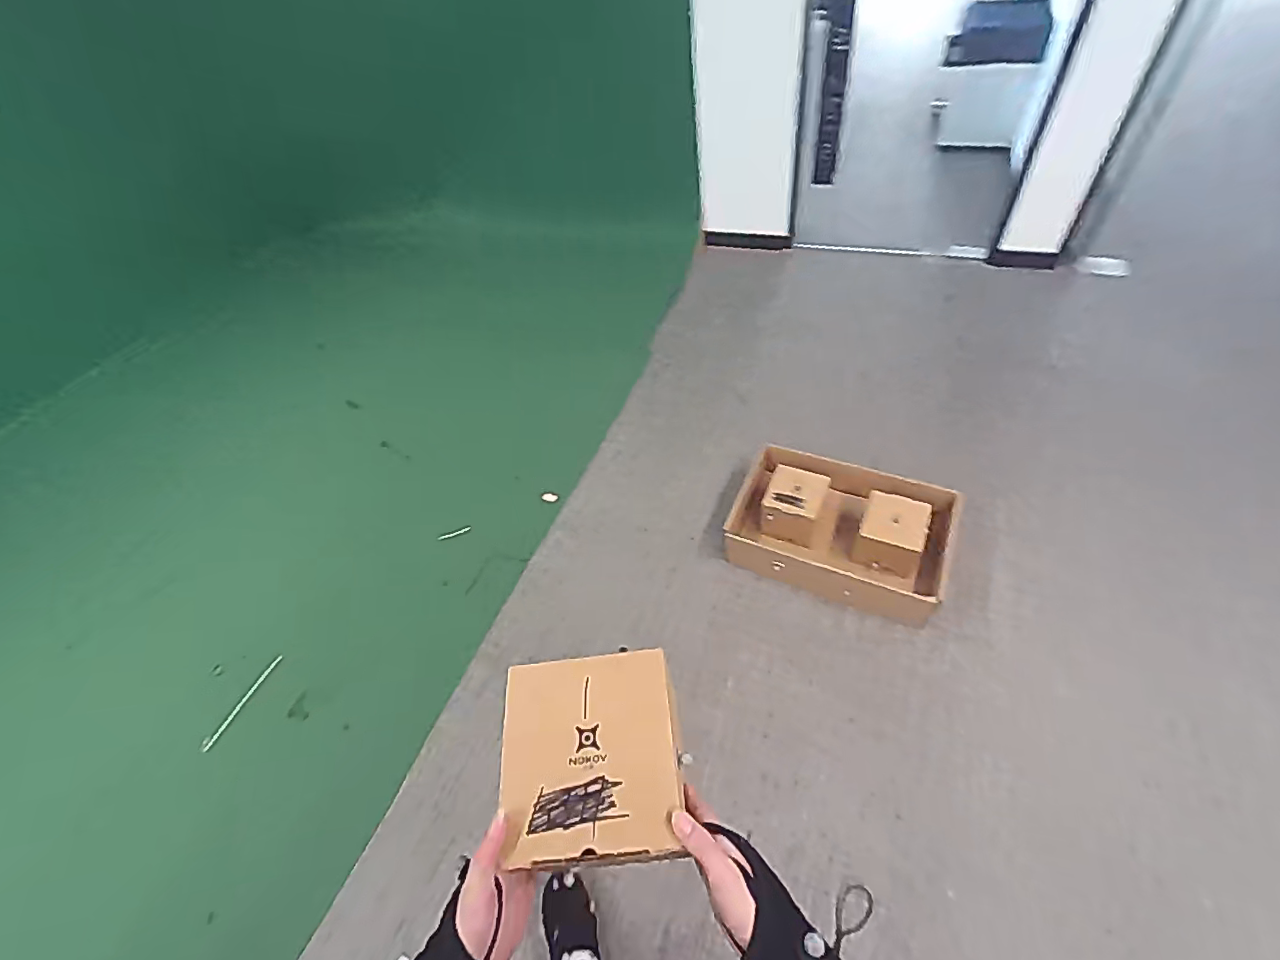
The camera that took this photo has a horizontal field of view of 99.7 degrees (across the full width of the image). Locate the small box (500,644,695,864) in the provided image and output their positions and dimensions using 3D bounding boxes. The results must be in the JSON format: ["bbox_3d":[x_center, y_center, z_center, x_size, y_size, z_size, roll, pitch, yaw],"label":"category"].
[{"bbox_3d":[-0.035,0.293,0.568,0.168,0.176,0.179,-7,52,3],"label":"small box"}]

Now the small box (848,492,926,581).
[{"bbox_3d":[0.737,0.172,1.628,0.168,0.176,0.179,17,56,22],"label":"small box"}]
